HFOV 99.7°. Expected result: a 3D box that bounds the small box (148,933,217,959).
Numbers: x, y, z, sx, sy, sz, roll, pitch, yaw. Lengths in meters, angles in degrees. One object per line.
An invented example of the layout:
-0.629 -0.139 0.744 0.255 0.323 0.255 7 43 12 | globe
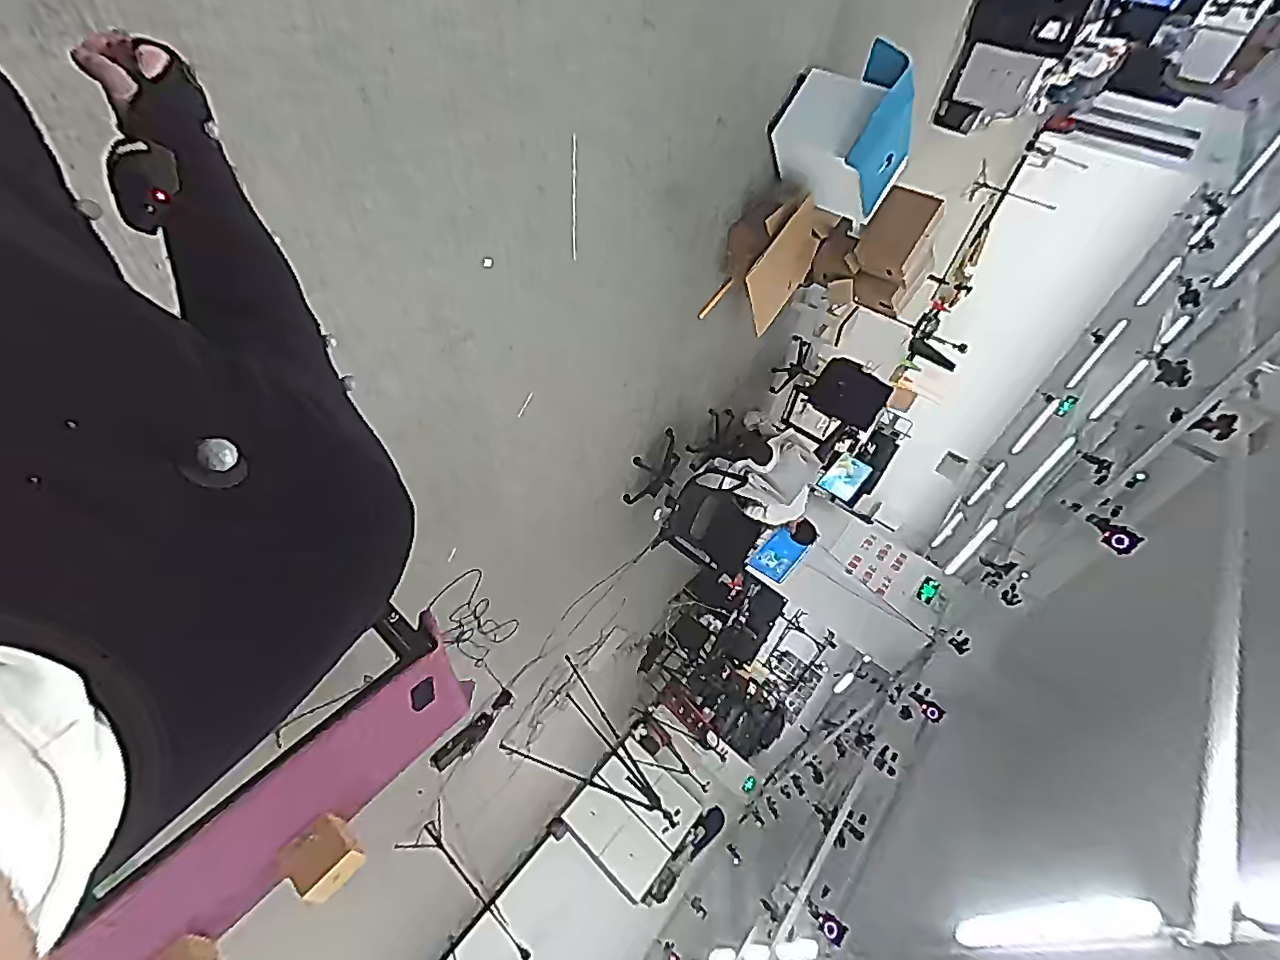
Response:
-1.292 1.407 1.497 0.168 0.176 0.179 -39 153 -36 | small box

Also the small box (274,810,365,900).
-1.030 1.205 1.741 0.168 0.176 0.179 -40 153 -33 | small box
